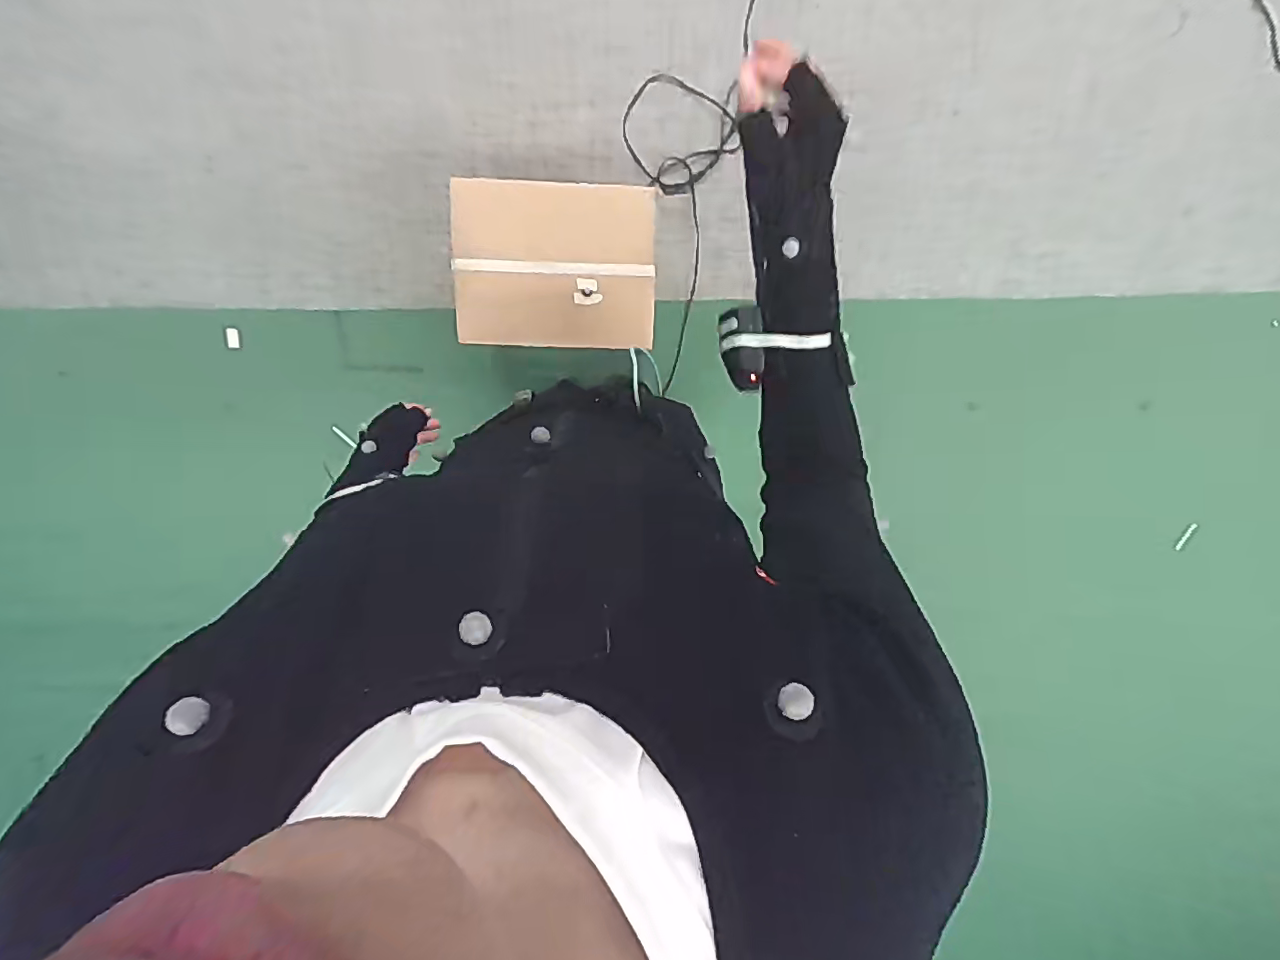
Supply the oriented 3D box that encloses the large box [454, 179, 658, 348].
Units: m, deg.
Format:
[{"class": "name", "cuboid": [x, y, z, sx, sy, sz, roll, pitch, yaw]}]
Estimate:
[{"class": "large box", "cuboid": [-0.176, -0.465, 1.233, 0.408, 0.320, 0.320, 1, 104, -3]}]
